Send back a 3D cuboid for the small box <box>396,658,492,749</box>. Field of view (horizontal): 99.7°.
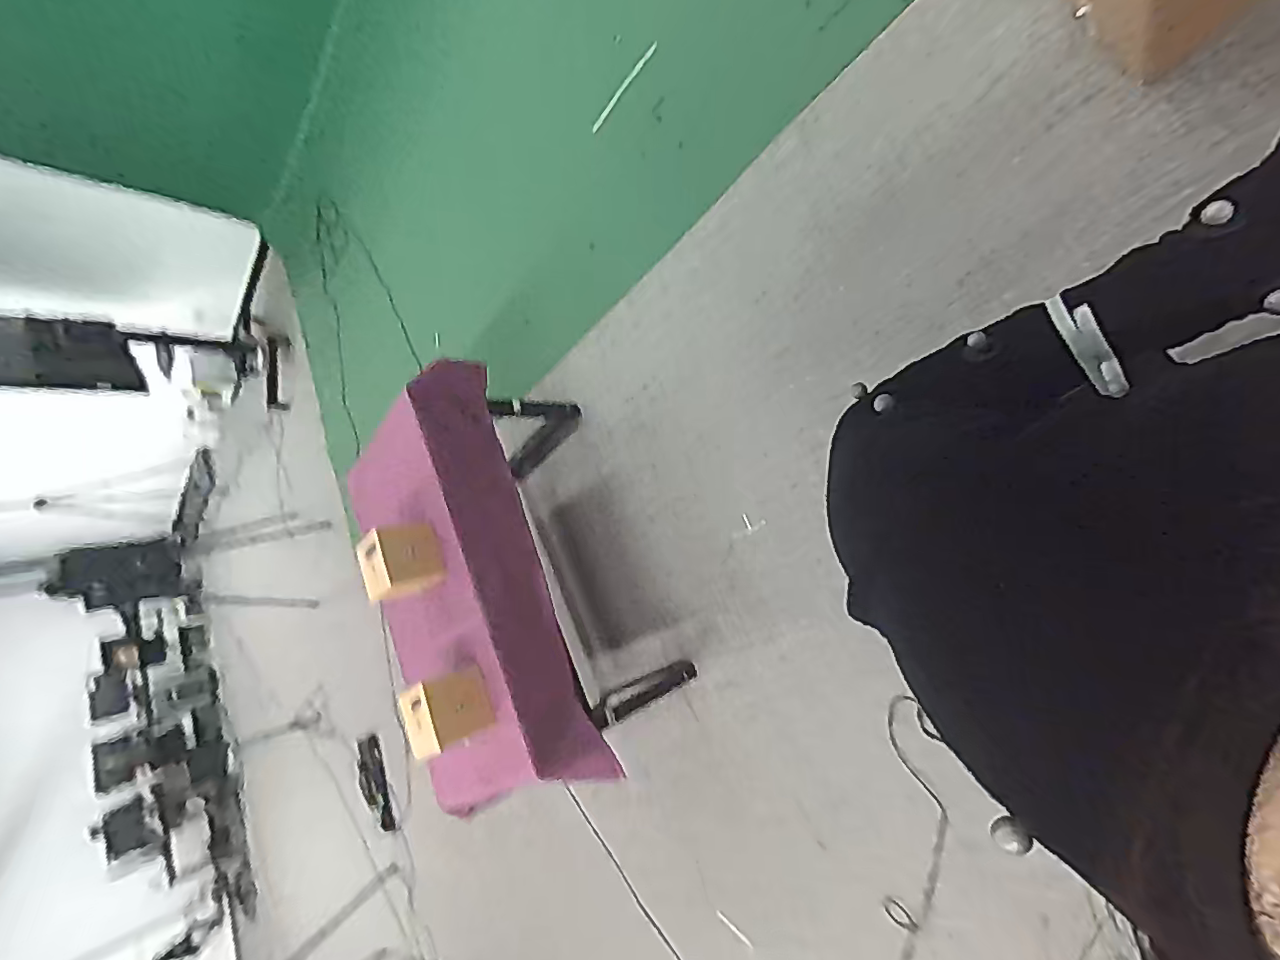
[{"bbox_3d":[-0.534,0.604,1.478,0.168,0.176,0.179,-35,71,38],"label":"small box"}]
